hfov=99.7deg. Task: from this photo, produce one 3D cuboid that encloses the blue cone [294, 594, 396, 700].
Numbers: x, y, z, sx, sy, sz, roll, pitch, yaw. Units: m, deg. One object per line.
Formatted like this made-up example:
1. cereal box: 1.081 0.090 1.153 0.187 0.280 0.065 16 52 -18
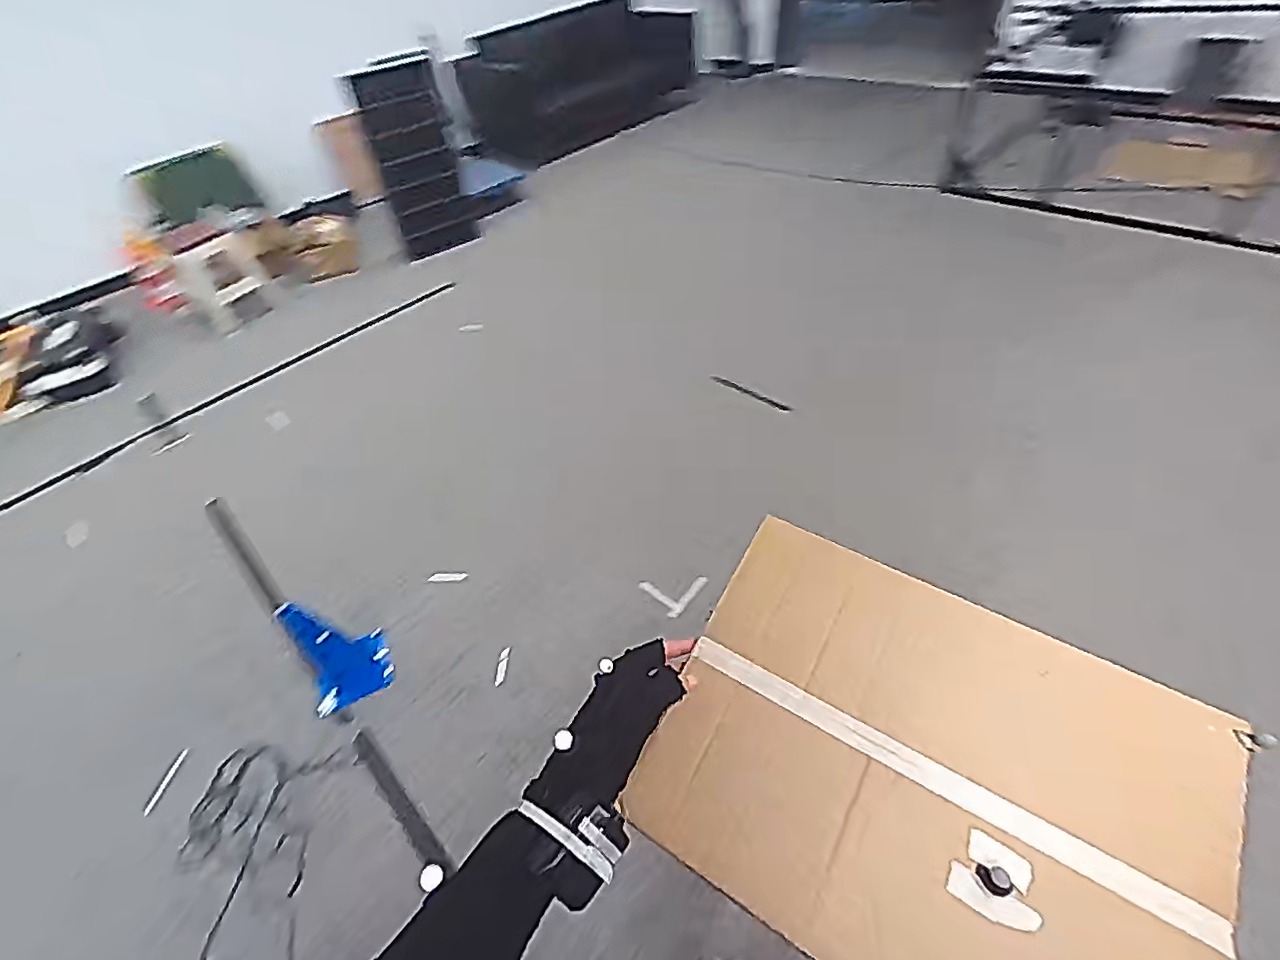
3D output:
1. blue cone: -0.851 0.442 1.513 0.193 0.380 0.192 -21 48 -13
